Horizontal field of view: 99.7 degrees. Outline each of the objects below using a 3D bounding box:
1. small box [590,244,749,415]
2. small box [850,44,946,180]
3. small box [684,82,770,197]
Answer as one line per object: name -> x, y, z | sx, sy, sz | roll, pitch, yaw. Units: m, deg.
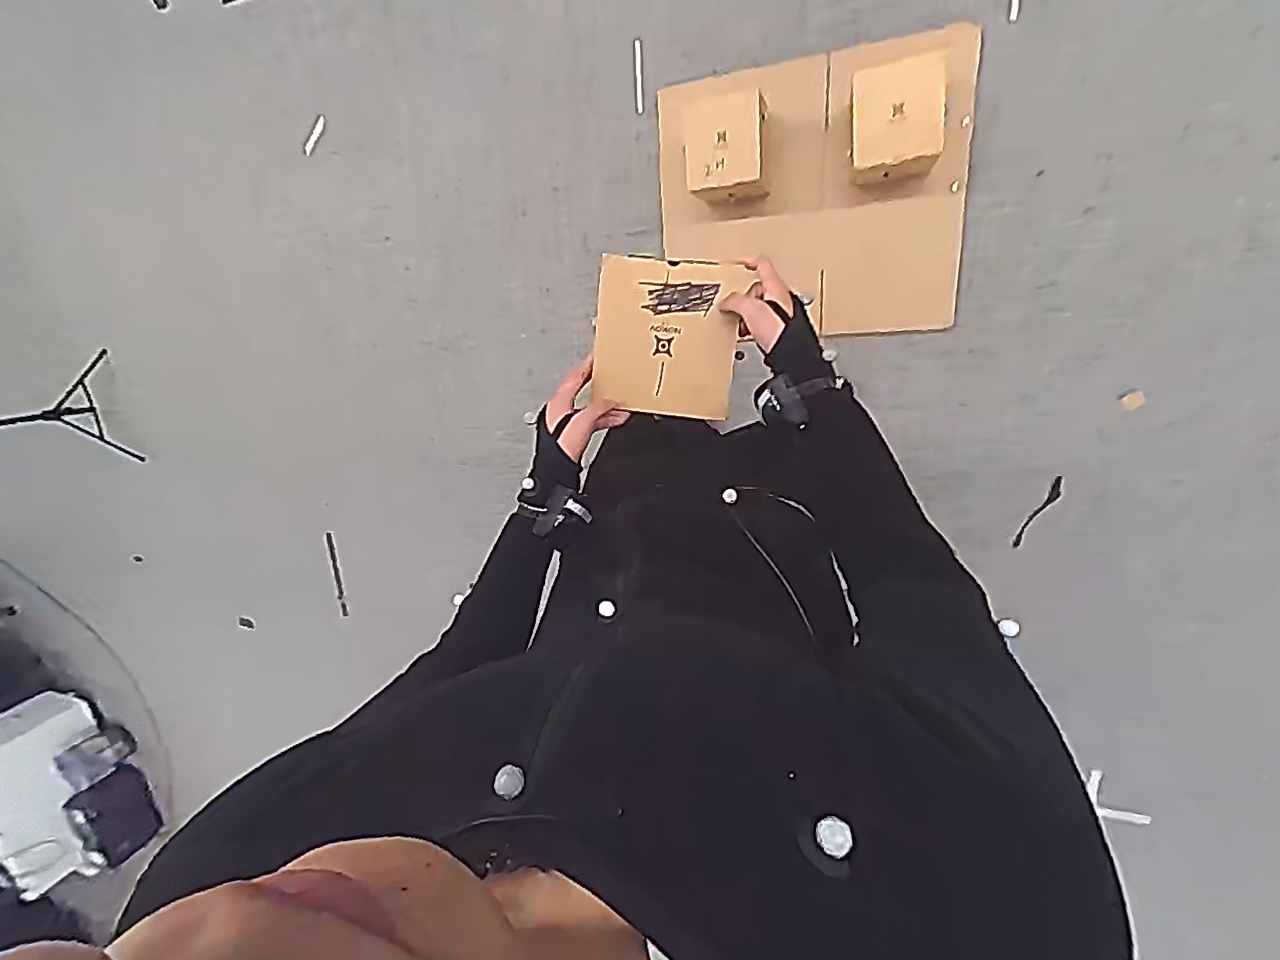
small box -> 0.039, -0.187, 0.697 | 0.168, 0.176, 0.179 | 8, 103, 5
small box -> 0.527, -0.751, 1.125 | 0.168, 0.176, 0.179 | -1, 107, 21
small box -> 0.202, -0.765, 1.235 | 0.168, 0.176, 0.179 | 2, 109, 21
